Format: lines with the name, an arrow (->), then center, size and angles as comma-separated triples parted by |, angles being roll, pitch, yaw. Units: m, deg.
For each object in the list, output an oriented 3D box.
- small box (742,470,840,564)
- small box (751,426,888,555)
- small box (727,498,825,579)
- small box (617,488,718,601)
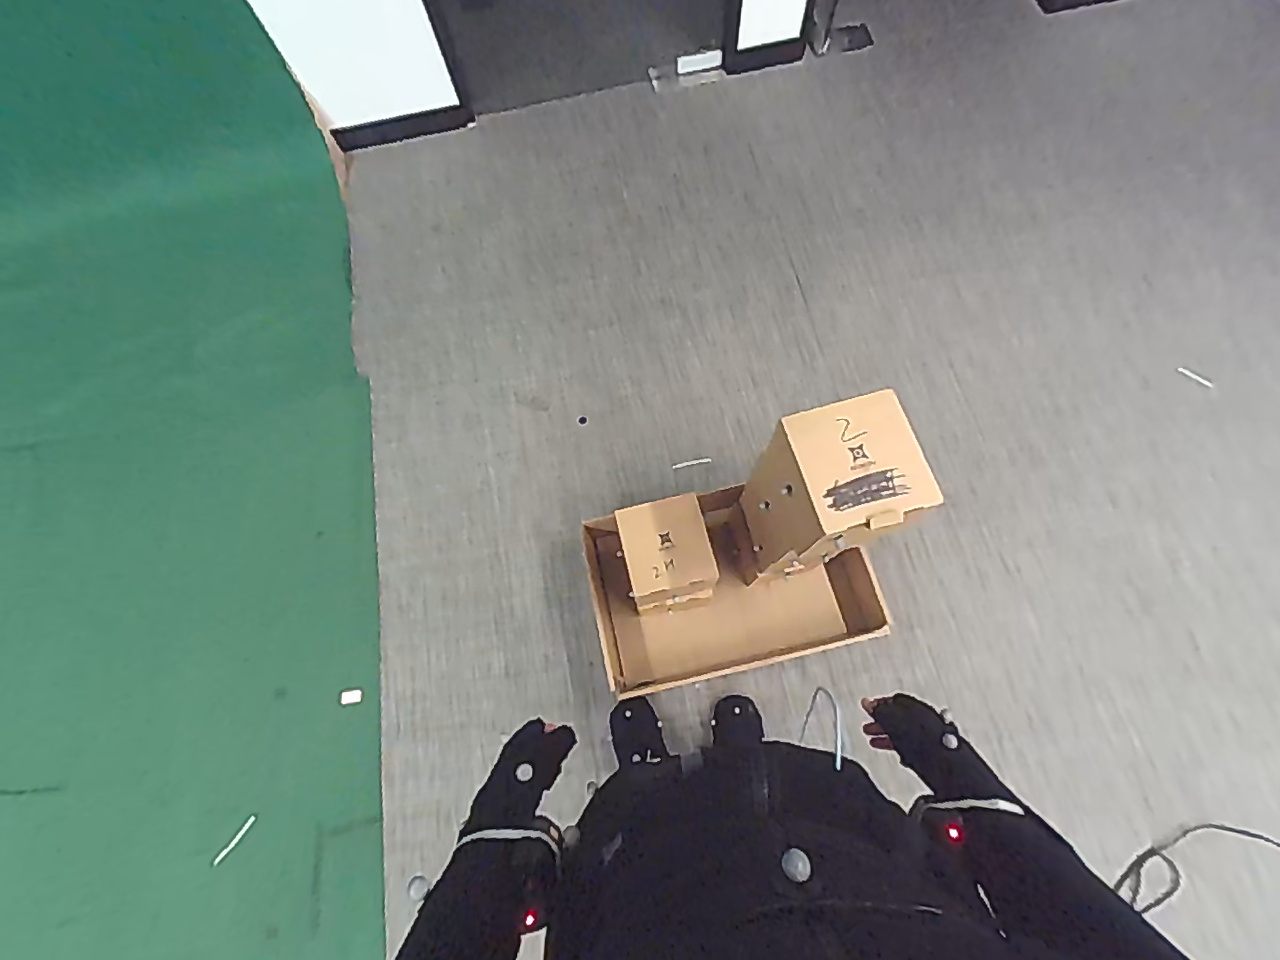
small box -> 0.315, 0.067, 1.102 | 0.168, 0.176, 0.179 | -13, 72, 0
small box -> 0.306, 0.029, 0.960 | 0.168, 0.176, 0.179 | -12, 72, -1
small box -> 0.312, 0.127, 1.274 | 0.168, 0.176, 0.179 | -18, 72, -1
small box -> 0.052, 0.137, 1.109 | 0.168, 0.176, 0.179 | -14, 72, -2
